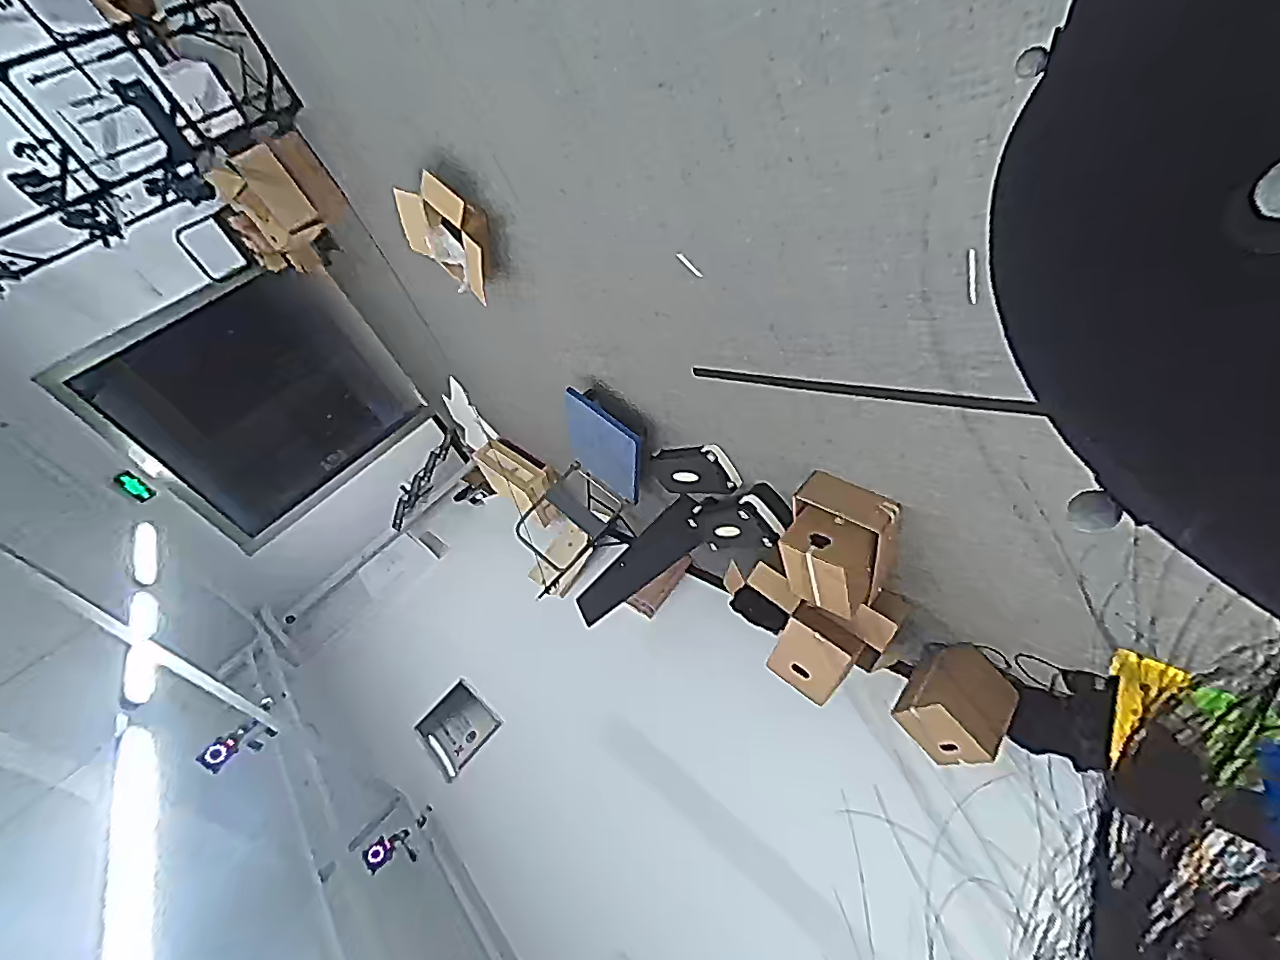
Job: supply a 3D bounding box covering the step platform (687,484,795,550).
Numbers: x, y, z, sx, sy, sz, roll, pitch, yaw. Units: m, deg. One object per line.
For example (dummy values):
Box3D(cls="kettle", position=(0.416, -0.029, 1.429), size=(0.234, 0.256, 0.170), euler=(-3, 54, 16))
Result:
Box3D(cls="step platform", position=(0.541, 0.226, 3.045), size=(0.286, 0.204, 0.684), euler=(48, 156, -9))
